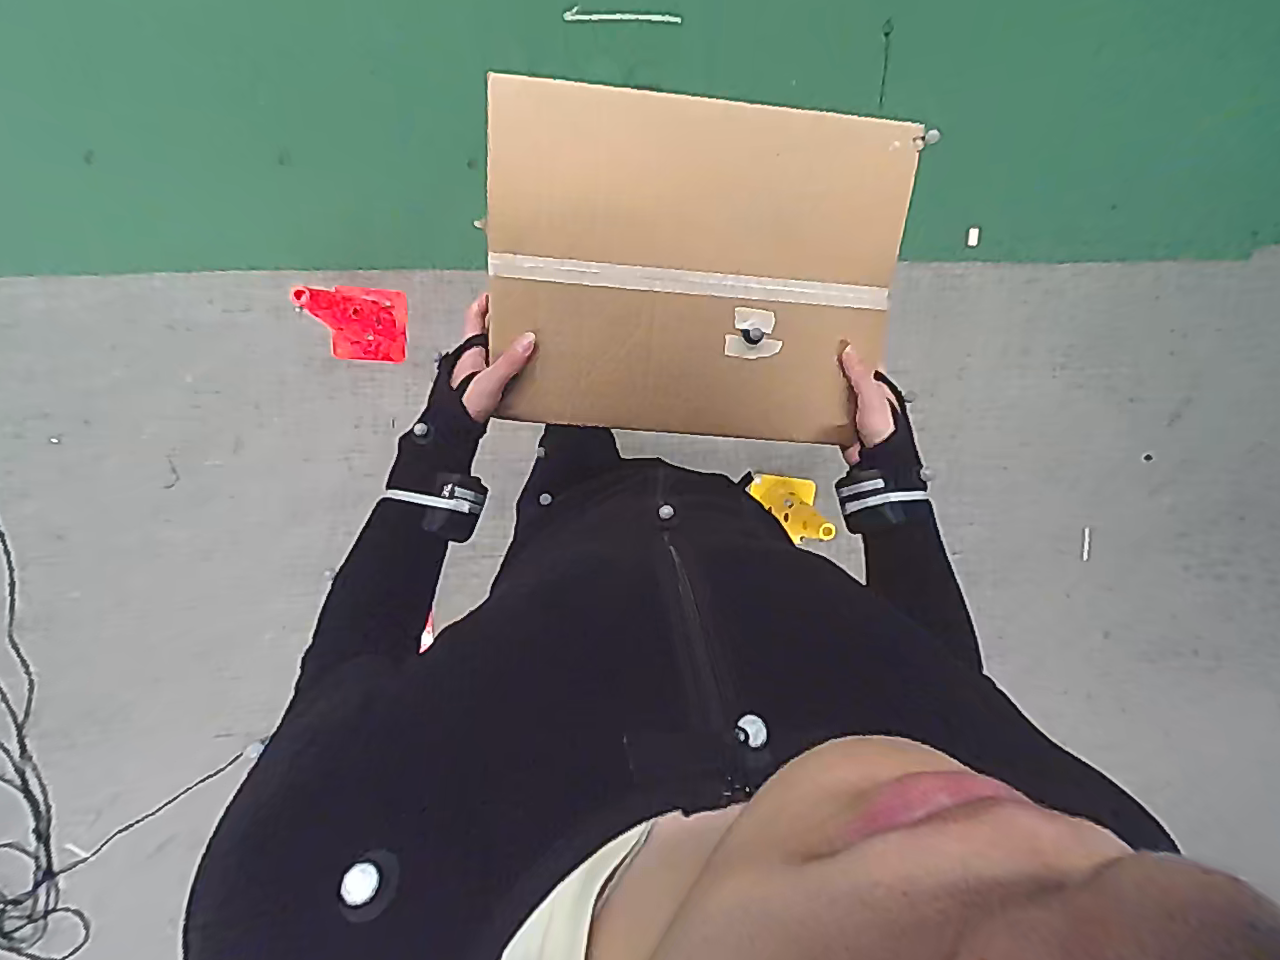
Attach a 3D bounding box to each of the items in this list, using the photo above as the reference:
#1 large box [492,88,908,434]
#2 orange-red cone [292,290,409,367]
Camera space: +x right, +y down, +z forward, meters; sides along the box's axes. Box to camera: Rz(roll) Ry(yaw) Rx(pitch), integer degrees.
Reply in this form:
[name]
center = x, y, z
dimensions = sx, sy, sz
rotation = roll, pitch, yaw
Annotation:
[large box]
center = 0.043, -0.250, 0.692
dimensions = 0.408, 0.320, 0.320
rotation = 3, 109, -4
[orange-red cone]
center = -0.741, -0.404, 1.333
dimensions = 0.199, 0.360, 0.198
rotation = 5, 95, -3
